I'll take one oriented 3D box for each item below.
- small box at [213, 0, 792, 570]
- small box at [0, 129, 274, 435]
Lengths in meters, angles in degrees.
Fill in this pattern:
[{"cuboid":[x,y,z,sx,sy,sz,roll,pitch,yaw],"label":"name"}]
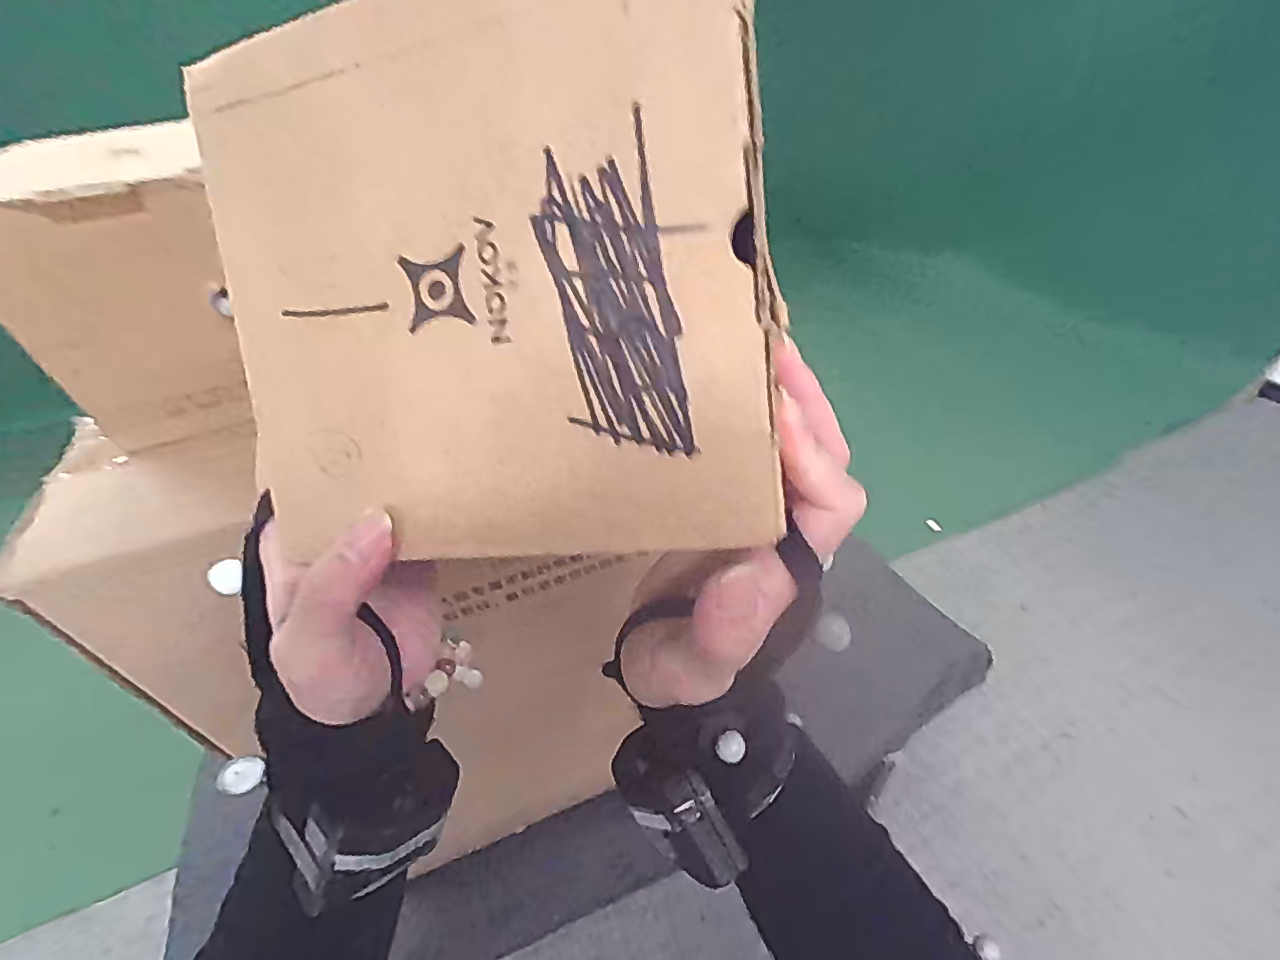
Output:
[{"cuboid":[-0.029,-0.064,0.243,0.179,0.168,0.176,-4,8,15],"label":"small box"},{"cuboid":[-0.333,-0.152,0.415,0.168,0.176,0.179,-17,44,-14],"label":"small box"}]
